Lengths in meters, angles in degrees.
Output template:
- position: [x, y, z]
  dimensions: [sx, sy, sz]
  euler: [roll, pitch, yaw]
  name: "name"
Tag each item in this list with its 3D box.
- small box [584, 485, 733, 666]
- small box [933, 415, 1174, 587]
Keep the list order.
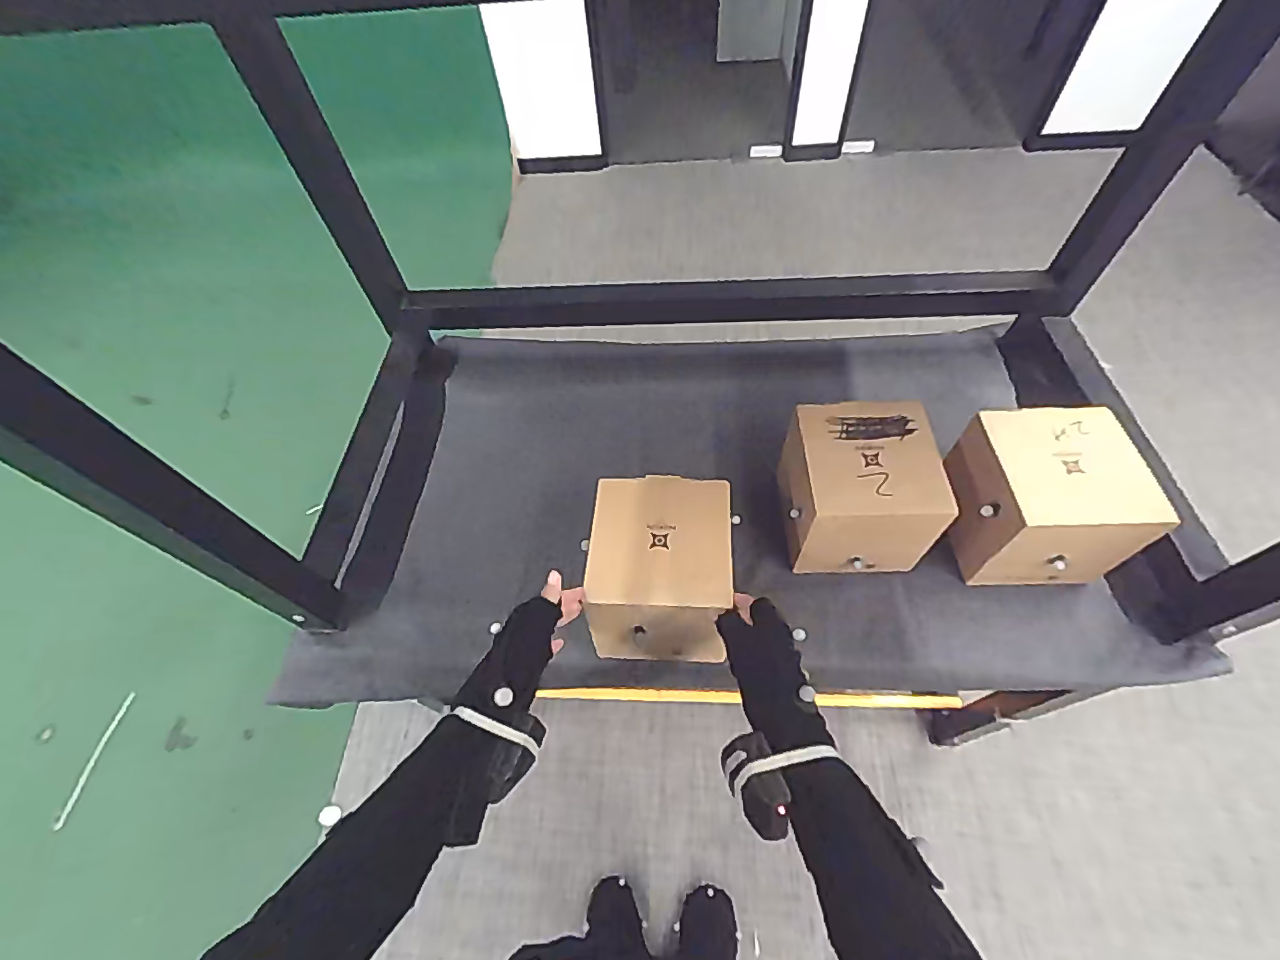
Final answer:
- position: [0.031, 0.126, 0.693]
  dimensions: [0.168, 0.176, 0.179]
  euler: [1, 51, 5]
  name: "small box"
- position: [0.524, 0.034, 0.721]
  dimensions: [0.168, 0.176, 0.179]
  euler: [-1, 55, 3]
  name: "small box"
